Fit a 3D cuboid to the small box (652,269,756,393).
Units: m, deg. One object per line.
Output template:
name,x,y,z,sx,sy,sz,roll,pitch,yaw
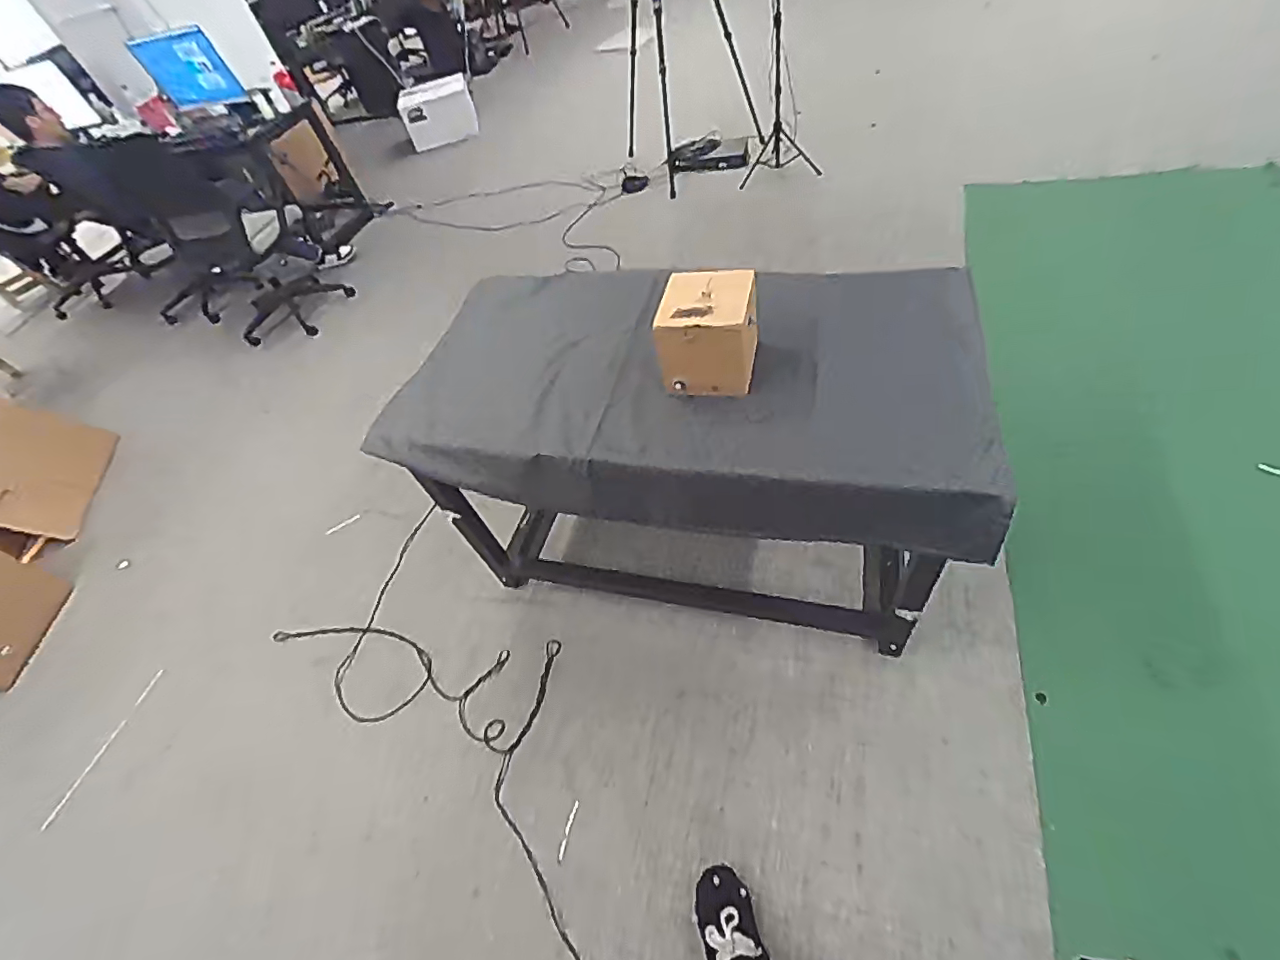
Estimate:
small box,0.135,-0.286,1.058,0.168,0.176,0.179,5,52,18
